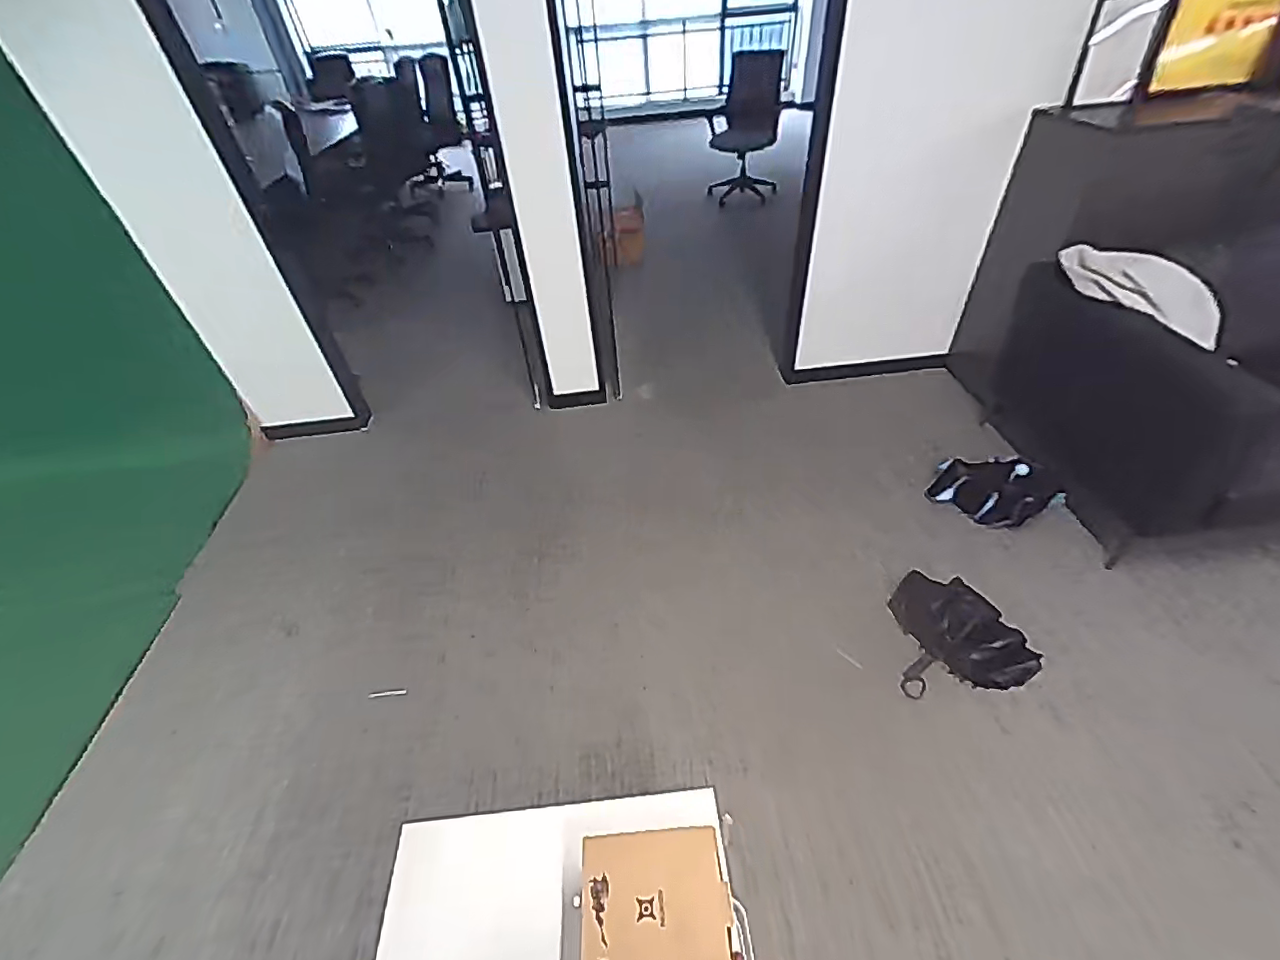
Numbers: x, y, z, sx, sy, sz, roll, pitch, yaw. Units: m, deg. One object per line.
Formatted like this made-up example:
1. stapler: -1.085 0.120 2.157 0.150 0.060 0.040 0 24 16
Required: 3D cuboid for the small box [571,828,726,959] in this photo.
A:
1. small box: 0.008 0.562 0.687 0.179 0.176 0.168 -3 43 -1
